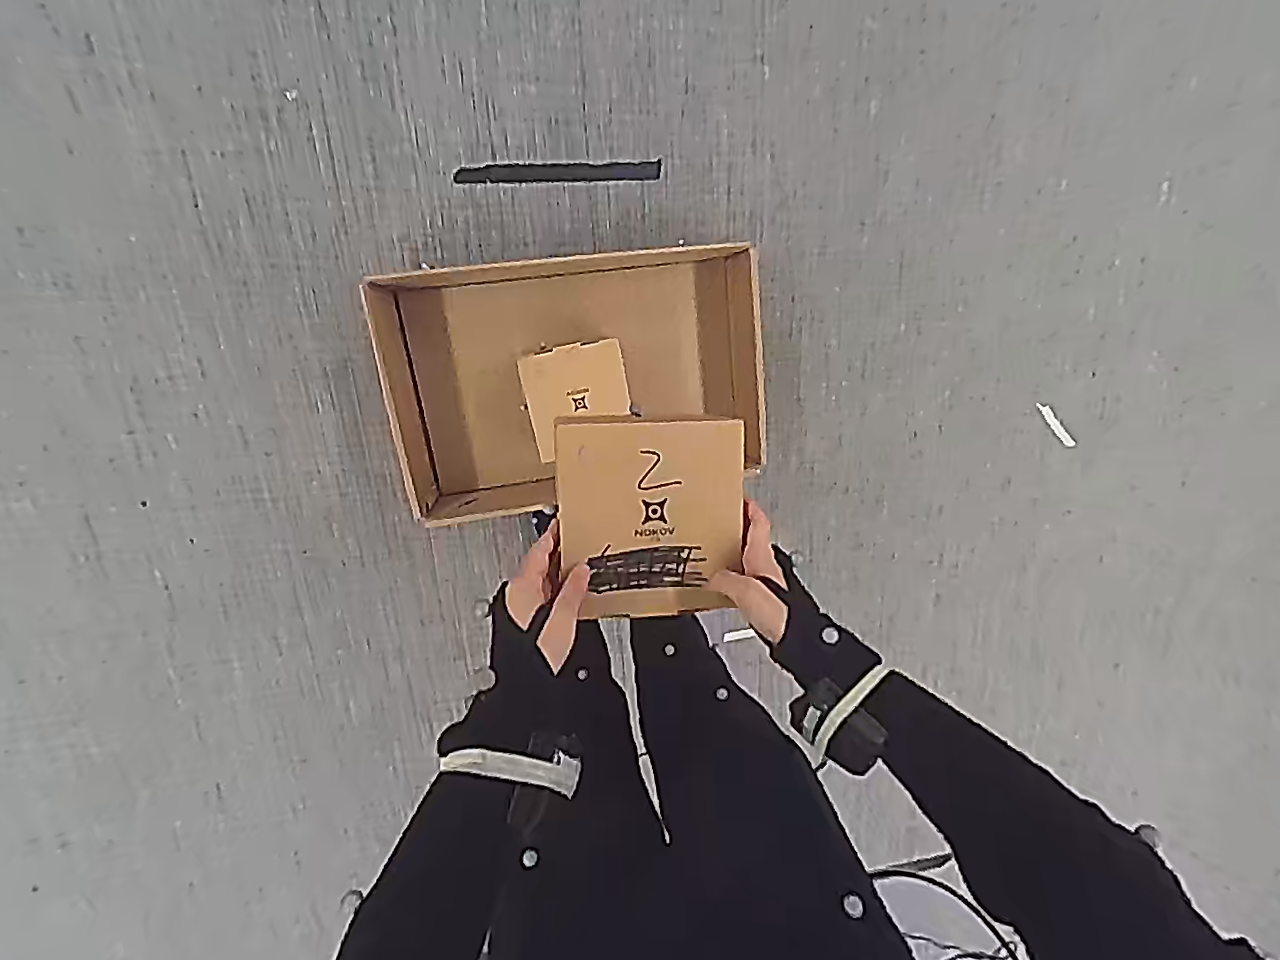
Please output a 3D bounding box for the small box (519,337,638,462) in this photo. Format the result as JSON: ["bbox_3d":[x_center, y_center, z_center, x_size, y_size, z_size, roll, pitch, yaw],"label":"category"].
[{"bbox_3d":[-0.111,-0.148,0.945,0.168,0.176,0.179,-14,108,-6],"label":"small box"}]
